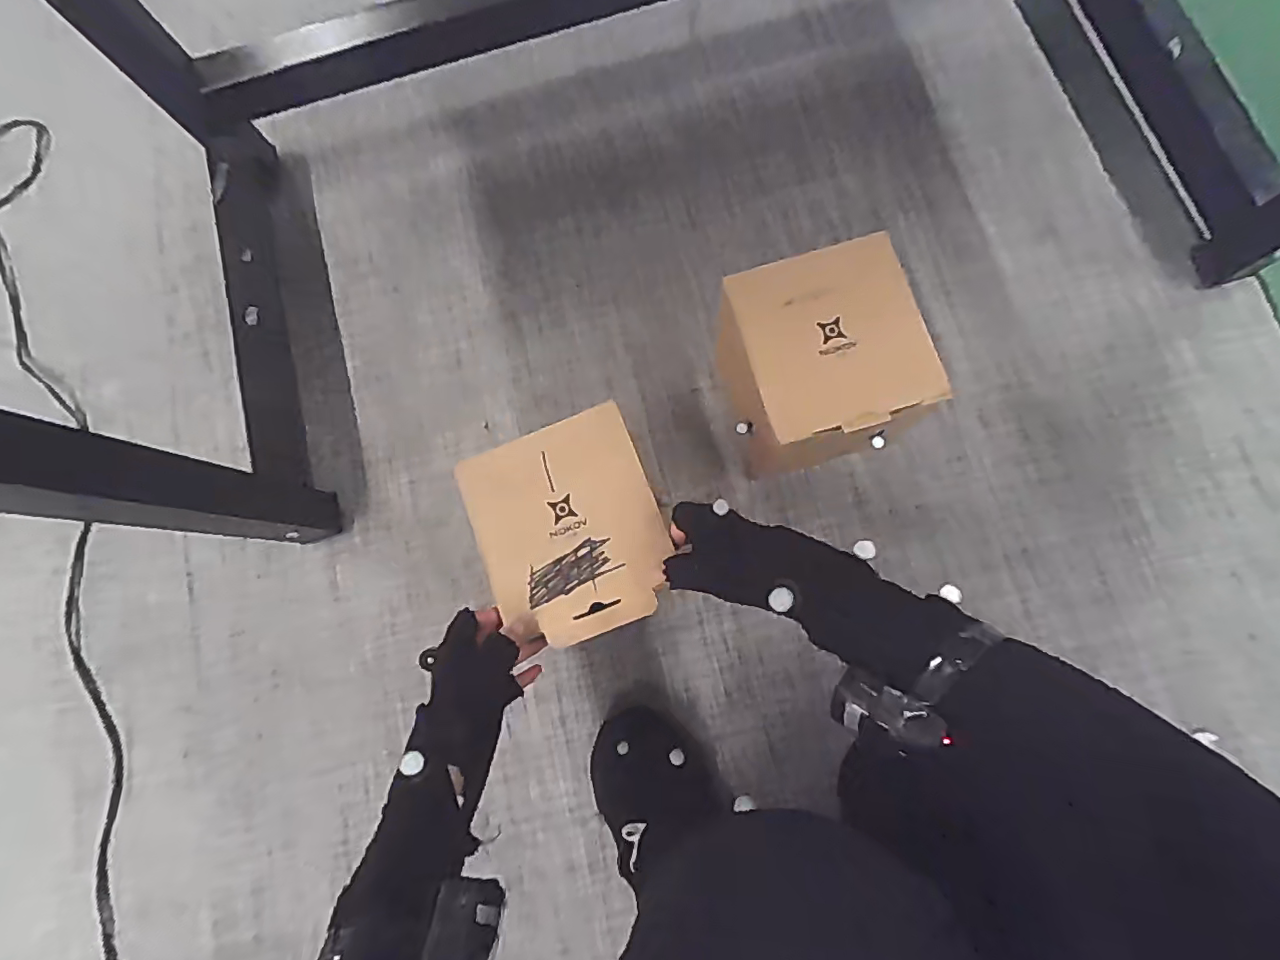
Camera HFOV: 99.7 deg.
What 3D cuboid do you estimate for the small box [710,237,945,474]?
[{"bbox_3d":[0.180,-0.115,0.581,0.168,0.176,0.179,-17,77,0],"label":"small box"}]
